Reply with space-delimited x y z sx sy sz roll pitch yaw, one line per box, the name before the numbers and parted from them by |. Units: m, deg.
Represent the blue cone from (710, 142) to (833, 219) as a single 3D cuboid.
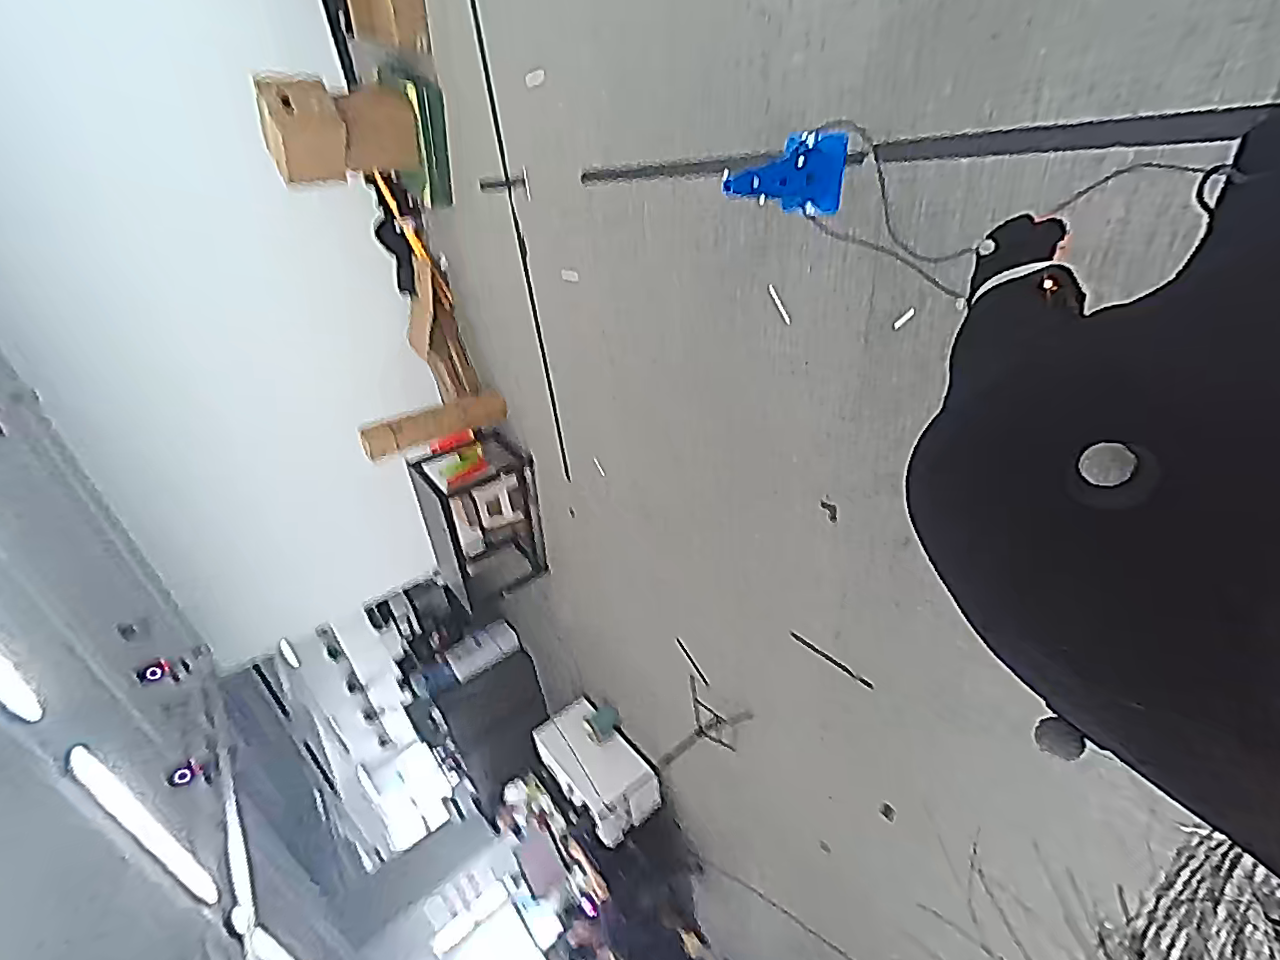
blue cone | 0.336 -0.781 1.446 0.192 0.380 0.193 30 136 41
